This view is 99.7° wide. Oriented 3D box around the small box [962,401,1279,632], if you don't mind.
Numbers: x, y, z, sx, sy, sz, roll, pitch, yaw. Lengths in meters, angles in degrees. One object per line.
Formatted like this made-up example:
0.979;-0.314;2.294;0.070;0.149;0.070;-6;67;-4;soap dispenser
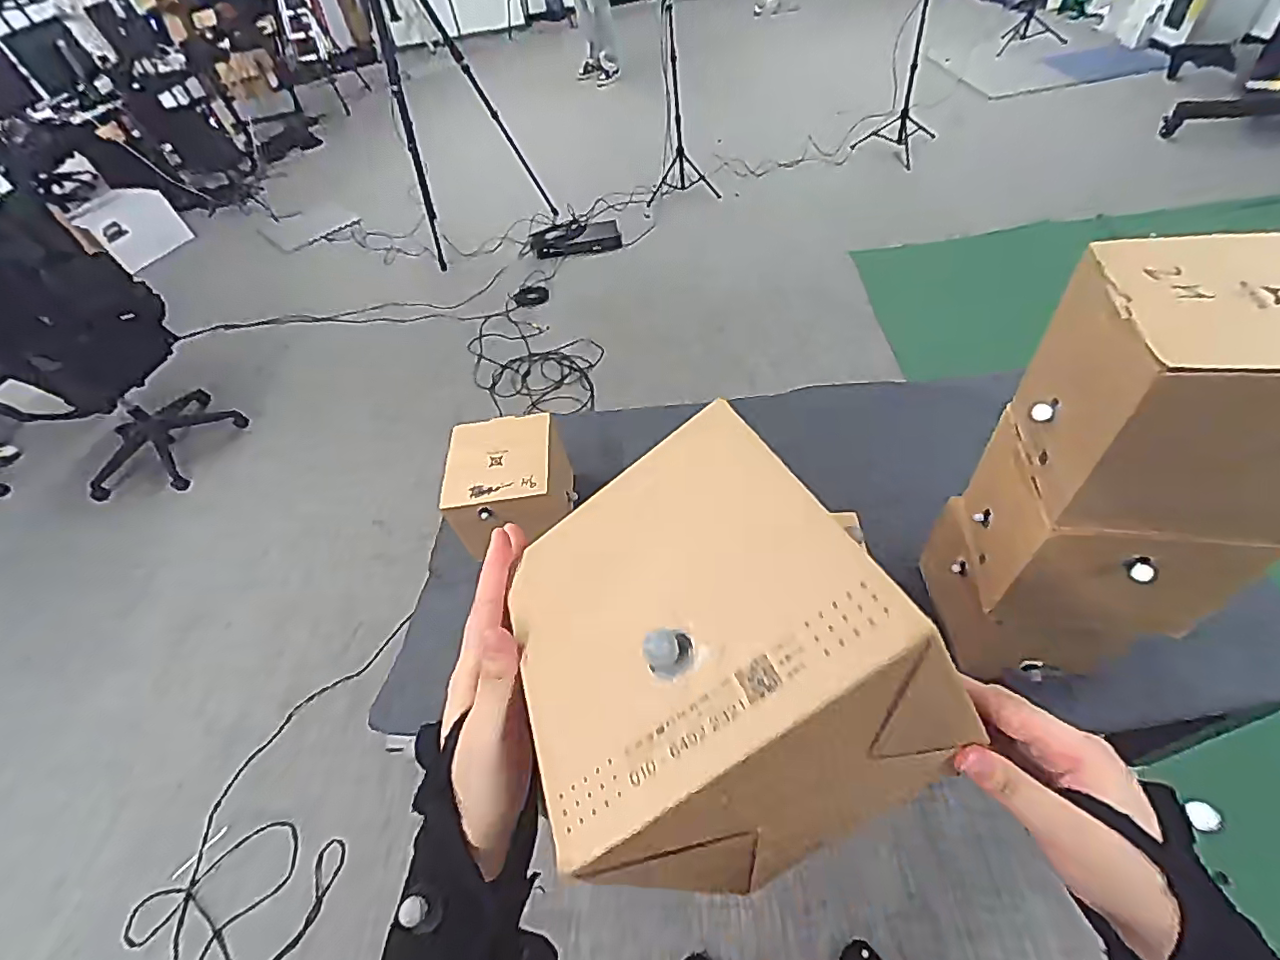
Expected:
0.455;0.039;0.546;0.179;0.176;0.168;3;50;15;small box

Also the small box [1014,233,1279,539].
0.434;-0.070;0.424;0.179;0.176;0.168;4;50;16;small box

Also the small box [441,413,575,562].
-0.209;0.014;0.906;0.168;0.176;0.179;-8;50;4;small box

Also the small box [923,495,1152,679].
0.480;0.132;0.678;0.168;0.176;0.179;-5;50;8;small box
